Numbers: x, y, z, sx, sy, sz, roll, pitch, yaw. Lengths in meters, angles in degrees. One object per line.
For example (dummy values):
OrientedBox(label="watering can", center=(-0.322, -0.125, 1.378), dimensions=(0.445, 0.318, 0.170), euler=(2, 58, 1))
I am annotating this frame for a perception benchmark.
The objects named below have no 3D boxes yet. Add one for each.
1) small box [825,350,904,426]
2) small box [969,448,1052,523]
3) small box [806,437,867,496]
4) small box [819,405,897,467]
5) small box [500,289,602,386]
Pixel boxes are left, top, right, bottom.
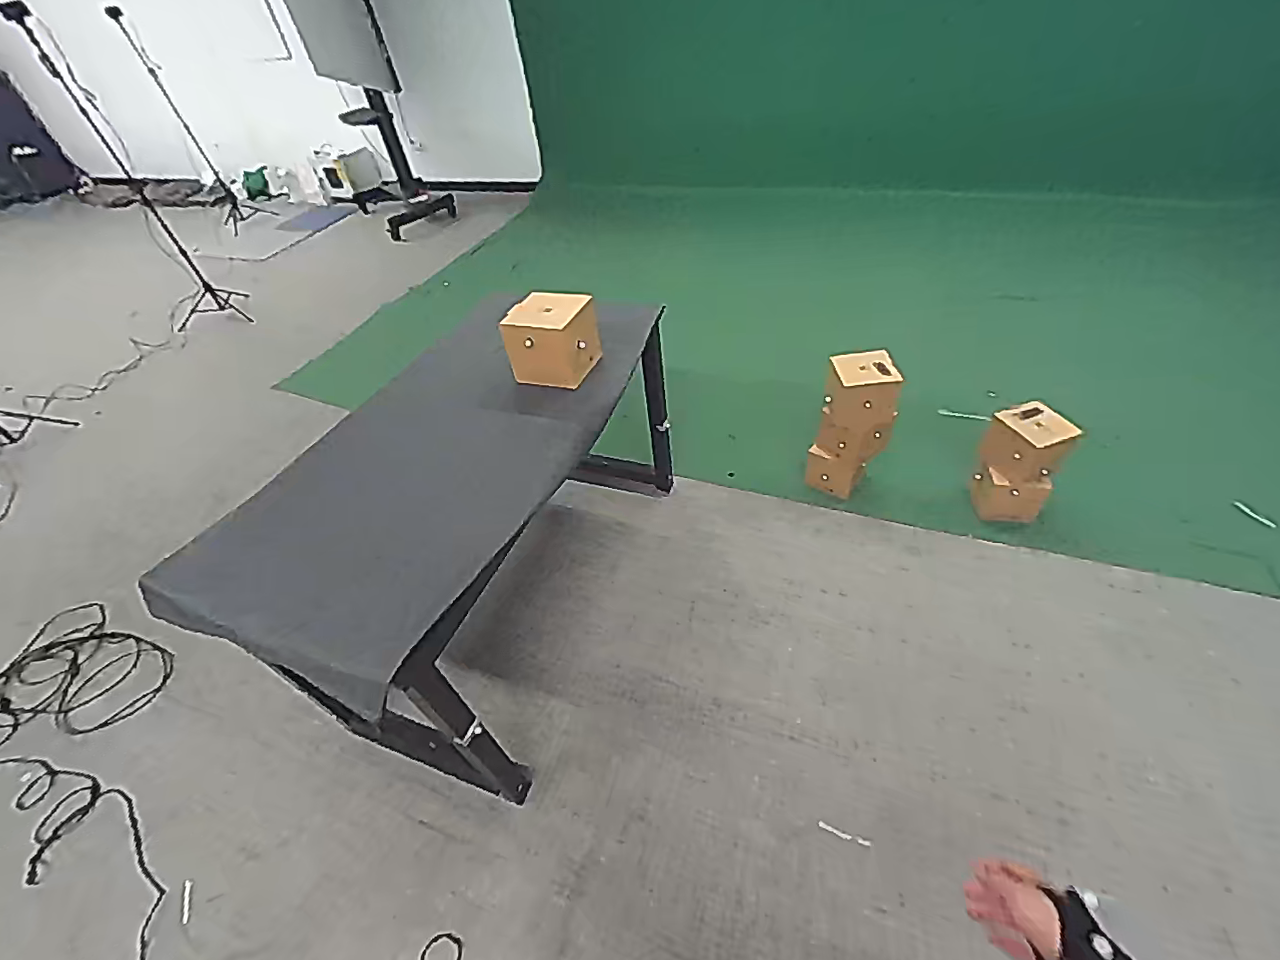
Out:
OrientedBox(label="small box", center=(0.704, -0.290, 1.717), dimensions=(0.179, 0.176, 0.168), euler=(-5, 46, 4))
OrientedBox(label="small box", center=(1.222, 0.017, 1.801), dimensions=(0.168, 0.176, 0.179), euler=(6, 46, 13))
OrientedBox(label="small box", center=(0.718, -0.071, 1.960), dimensions=(0.168, 0.176, 0.179), euler=(27, 54, 29))
OrientedBox(label="small box", center=(0.729, -0.173, 1.831), dimensions=(0.179, 0.176, 0.168), euler=(-26, 49, -18))
OrientedBox(label="small box", center=(-0.211, -0.351, 1.340), dimensions=(0.179, 0.176, 0.168), euler=(11, 48, 20))
